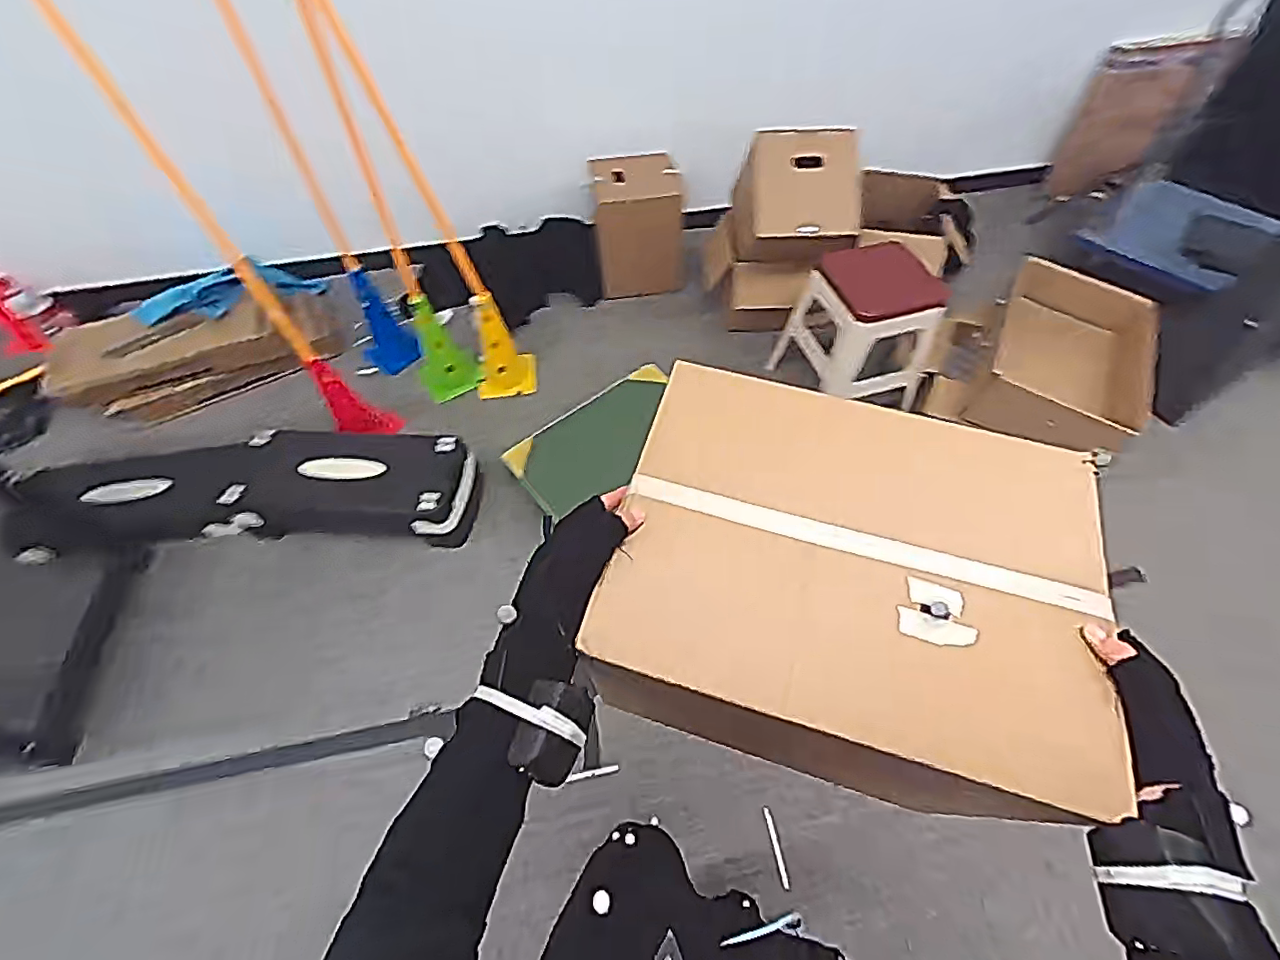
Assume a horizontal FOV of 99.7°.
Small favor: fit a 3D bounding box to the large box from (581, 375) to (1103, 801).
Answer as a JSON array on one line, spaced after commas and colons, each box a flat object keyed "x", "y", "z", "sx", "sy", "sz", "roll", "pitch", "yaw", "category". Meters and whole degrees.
[{"x": 0.178, "y": 0.130, "z": 0.610, "sx": 0.408, "sy": 0.320, "sz": 0.320, "roll": 14, "pitch": 63, "yaw": 8, "category": "large box"}]
